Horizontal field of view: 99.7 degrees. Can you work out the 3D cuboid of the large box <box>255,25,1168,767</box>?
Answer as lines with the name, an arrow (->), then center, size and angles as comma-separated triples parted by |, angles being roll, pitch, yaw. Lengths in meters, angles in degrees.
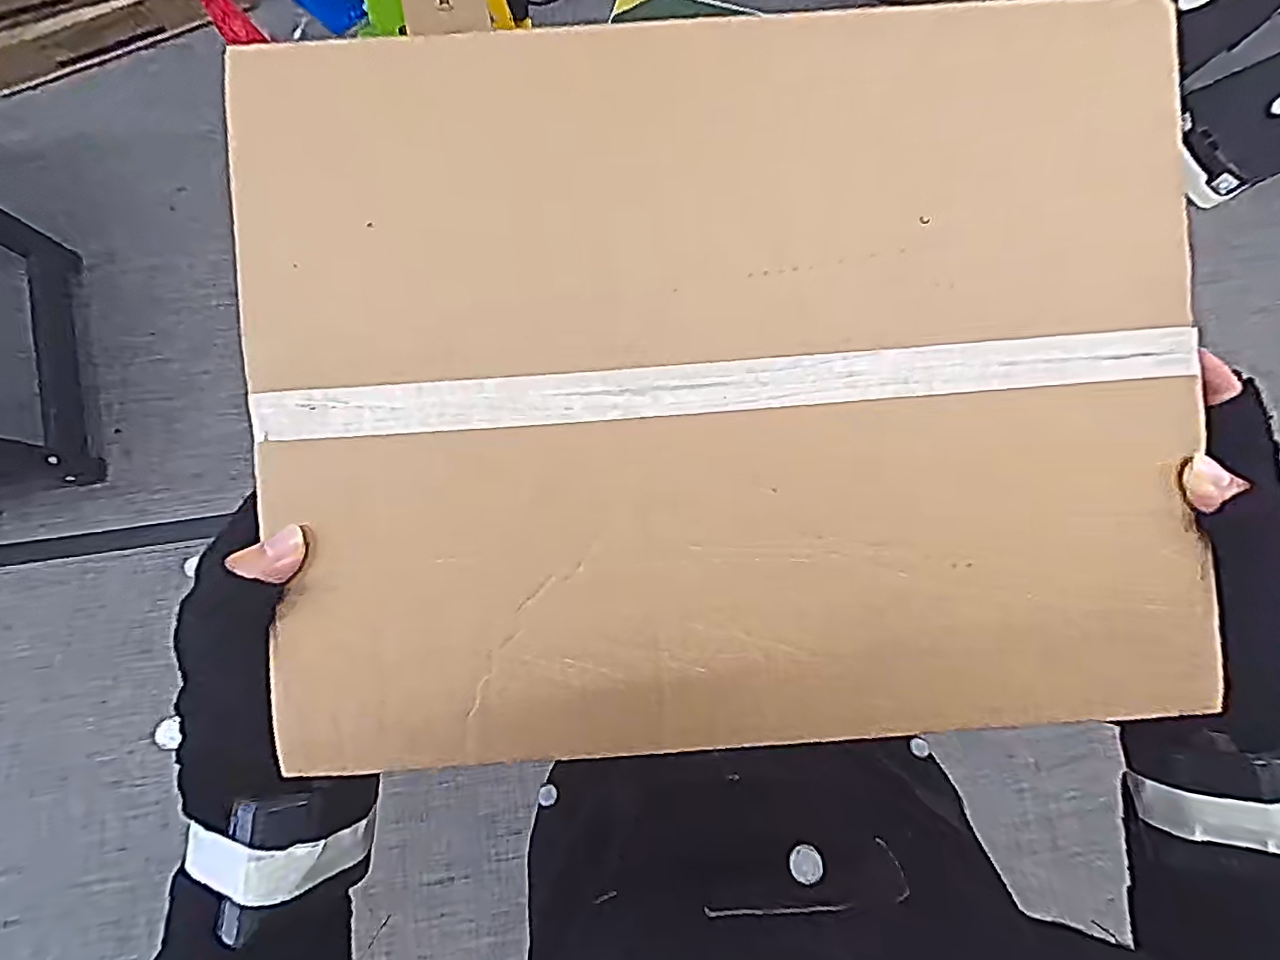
large box -> 0.036, -0.040, 0.395 | 0.408, 0.320, 0.320 | -4, 90, 0
